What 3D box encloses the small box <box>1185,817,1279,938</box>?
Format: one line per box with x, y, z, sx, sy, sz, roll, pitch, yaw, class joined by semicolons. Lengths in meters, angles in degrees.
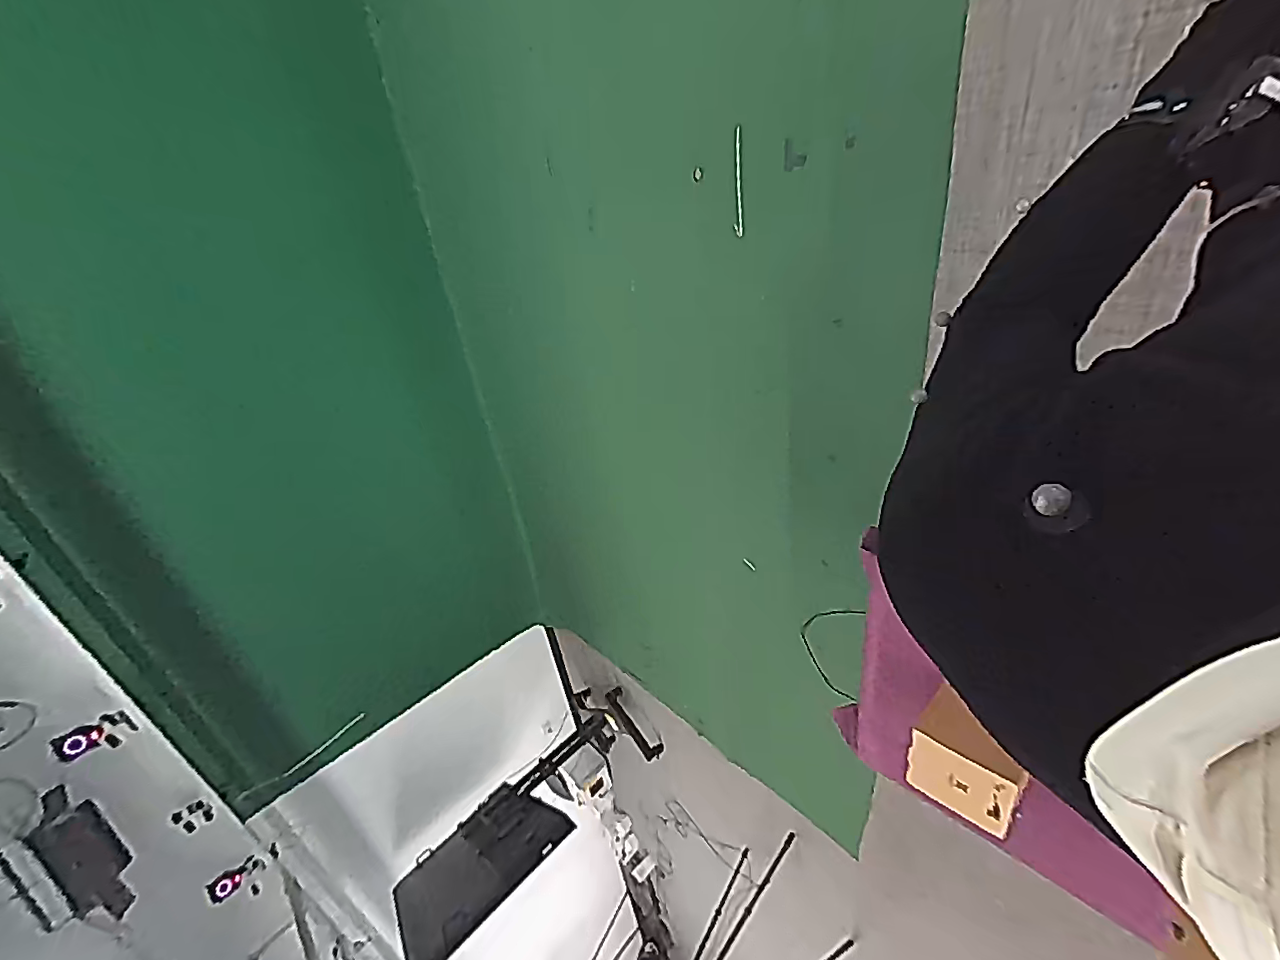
0.915;0.635;0.769;0.168;0.176;0.179;19;129;44;small box

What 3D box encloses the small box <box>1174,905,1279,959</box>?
0.798;0.700;0.676;0.179;0.176;0.168;19;128;44;small box

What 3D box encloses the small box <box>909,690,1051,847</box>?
0.648;0.537;1.038;0.179;0.176;0.168;20;130;43;small box
